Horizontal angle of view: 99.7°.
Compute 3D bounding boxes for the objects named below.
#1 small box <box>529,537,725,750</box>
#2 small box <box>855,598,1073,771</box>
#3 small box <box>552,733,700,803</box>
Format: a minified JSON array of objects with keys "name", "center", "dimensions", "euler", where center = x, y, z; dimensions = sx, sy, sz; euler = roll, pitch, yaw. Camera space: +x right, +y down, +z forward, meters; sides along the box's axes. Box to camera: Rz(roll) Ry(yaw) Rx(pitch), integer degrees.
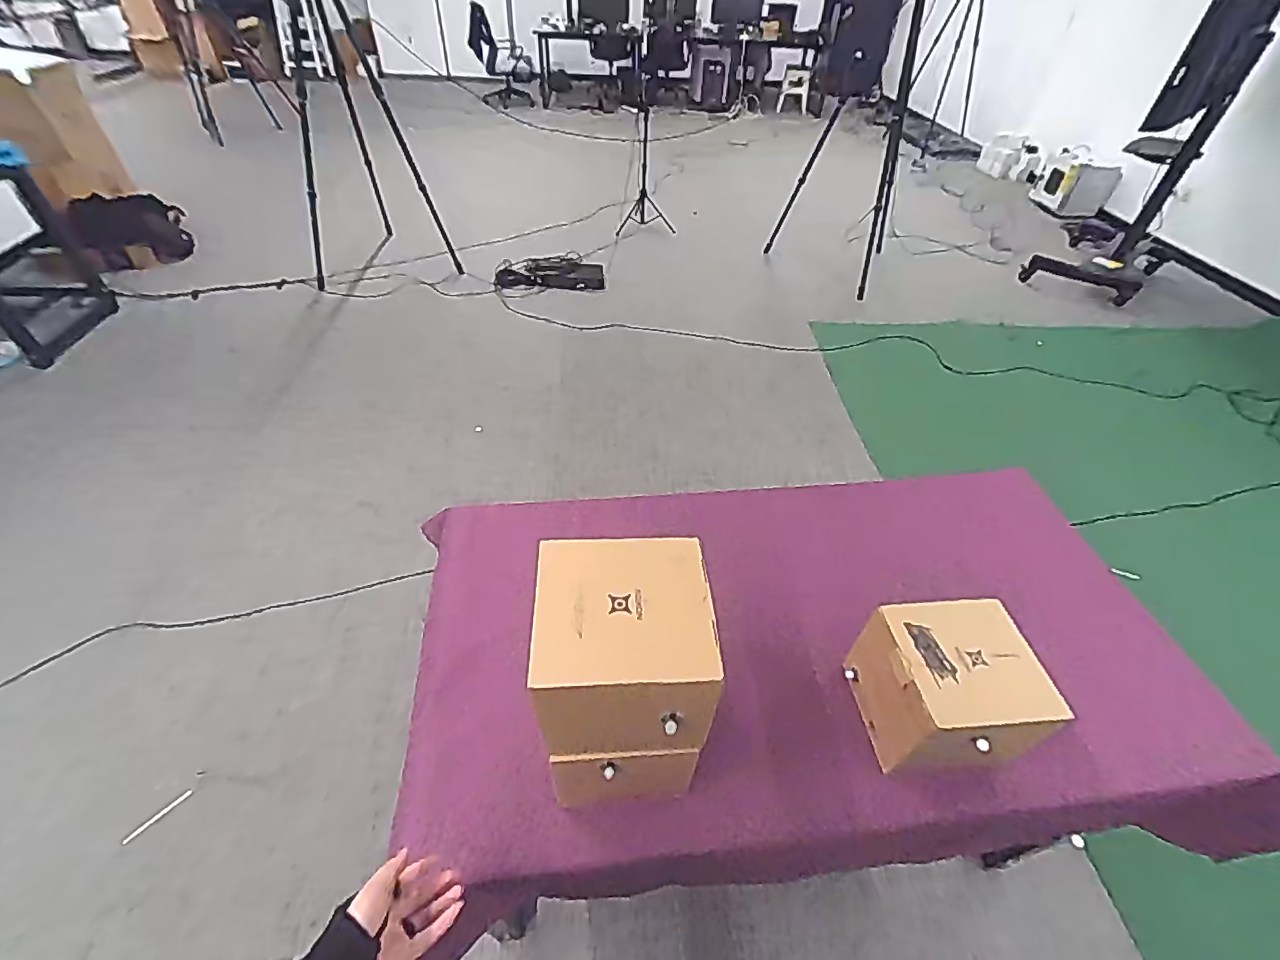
[{"name":"small box","center":[-0.016,0.178,0.587],"dimensions":[0.179,0.176,0.168],"euler":[-1,45,-3]},{"name":"small box","center":[0.413,0.279,0.735],"dimensions":[0.179,0.176,0.168],"euler":[-2,45,-5]},{"name":"small box","center":[-0.022,0.294,0.703],"dimensions":[0.168,0.176,0.179],"euler":[-2,44,-3]}]
